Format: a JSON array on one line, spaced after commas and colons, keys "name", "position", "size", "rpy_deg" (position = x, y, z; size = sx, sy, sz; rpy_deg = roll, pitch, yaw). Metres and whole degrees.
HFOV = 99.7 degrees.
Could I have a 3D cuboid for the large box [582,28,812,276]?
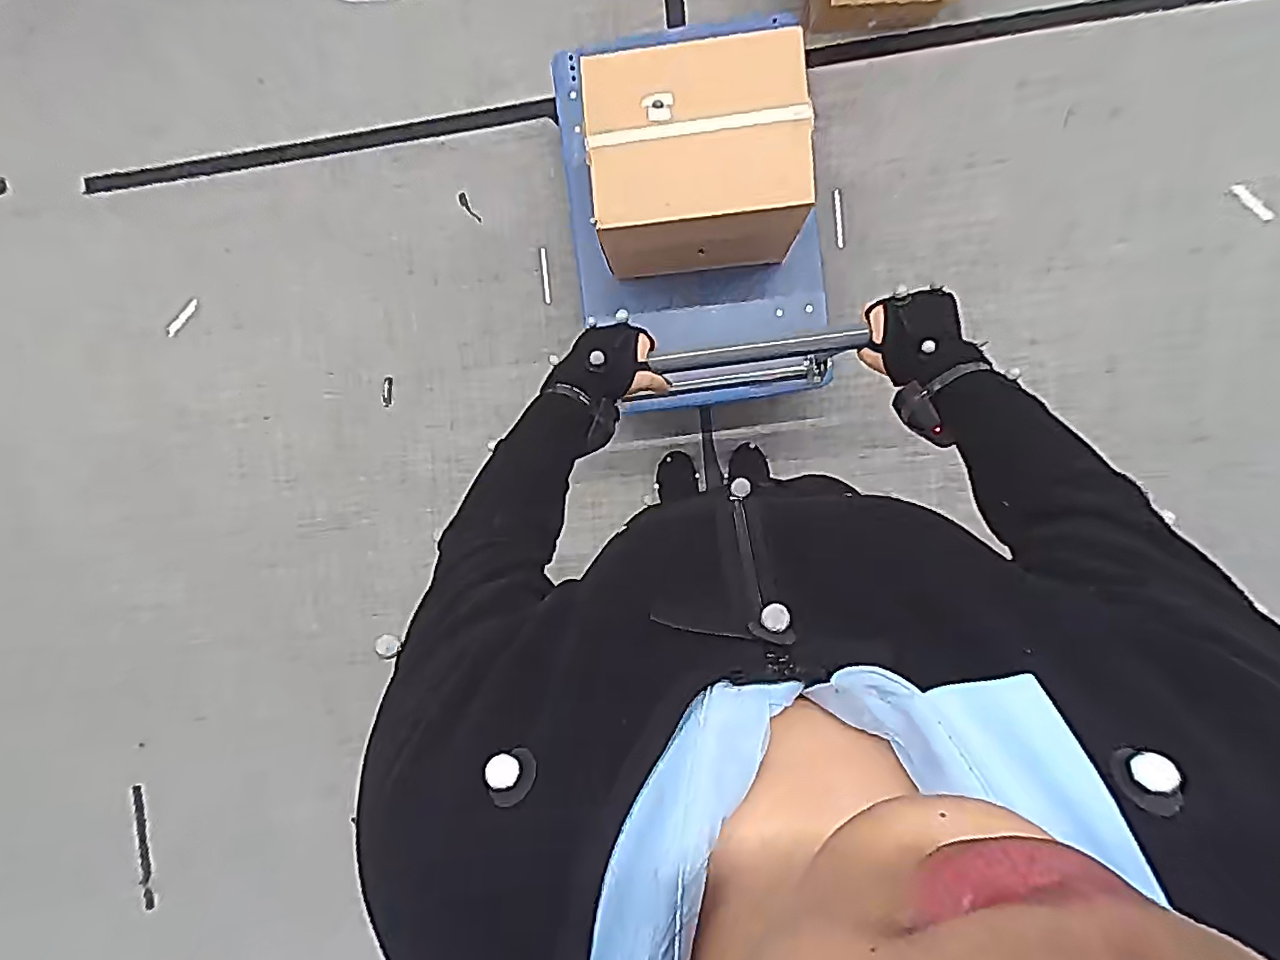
[{"name": "large box", "position": [0.116, -0.652, 1.144], "size": [0.408, 0.320, 0.320], "rpy_deg": [-5, 92, 5]}]
